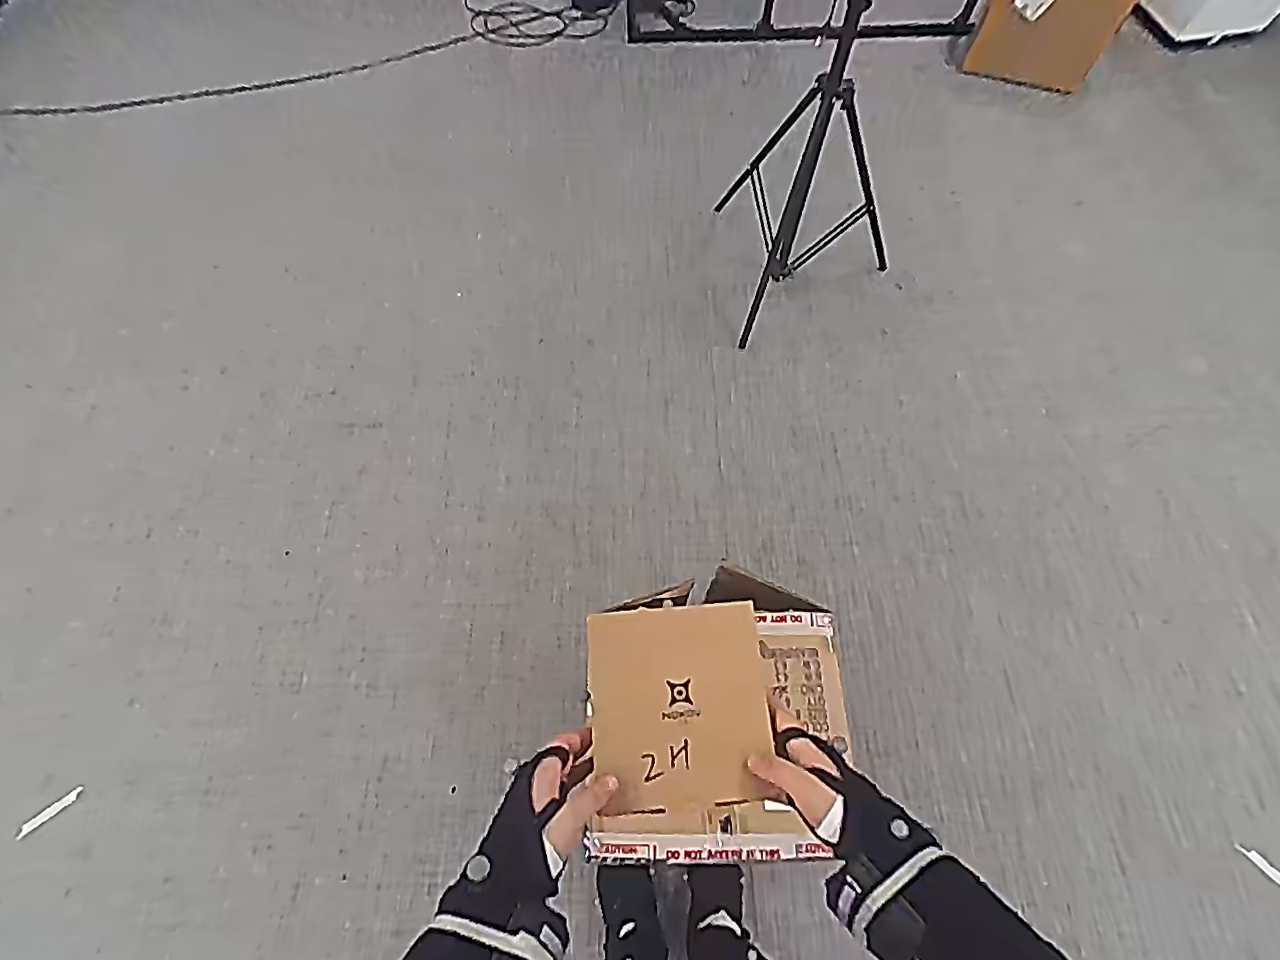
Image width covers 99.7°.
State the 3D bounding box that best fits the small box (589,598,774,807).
[{"bbox_3d":[0.031,0.230,0.586,0.168,0.176,0.179,-4,72,-3],"label":"small box"}]
